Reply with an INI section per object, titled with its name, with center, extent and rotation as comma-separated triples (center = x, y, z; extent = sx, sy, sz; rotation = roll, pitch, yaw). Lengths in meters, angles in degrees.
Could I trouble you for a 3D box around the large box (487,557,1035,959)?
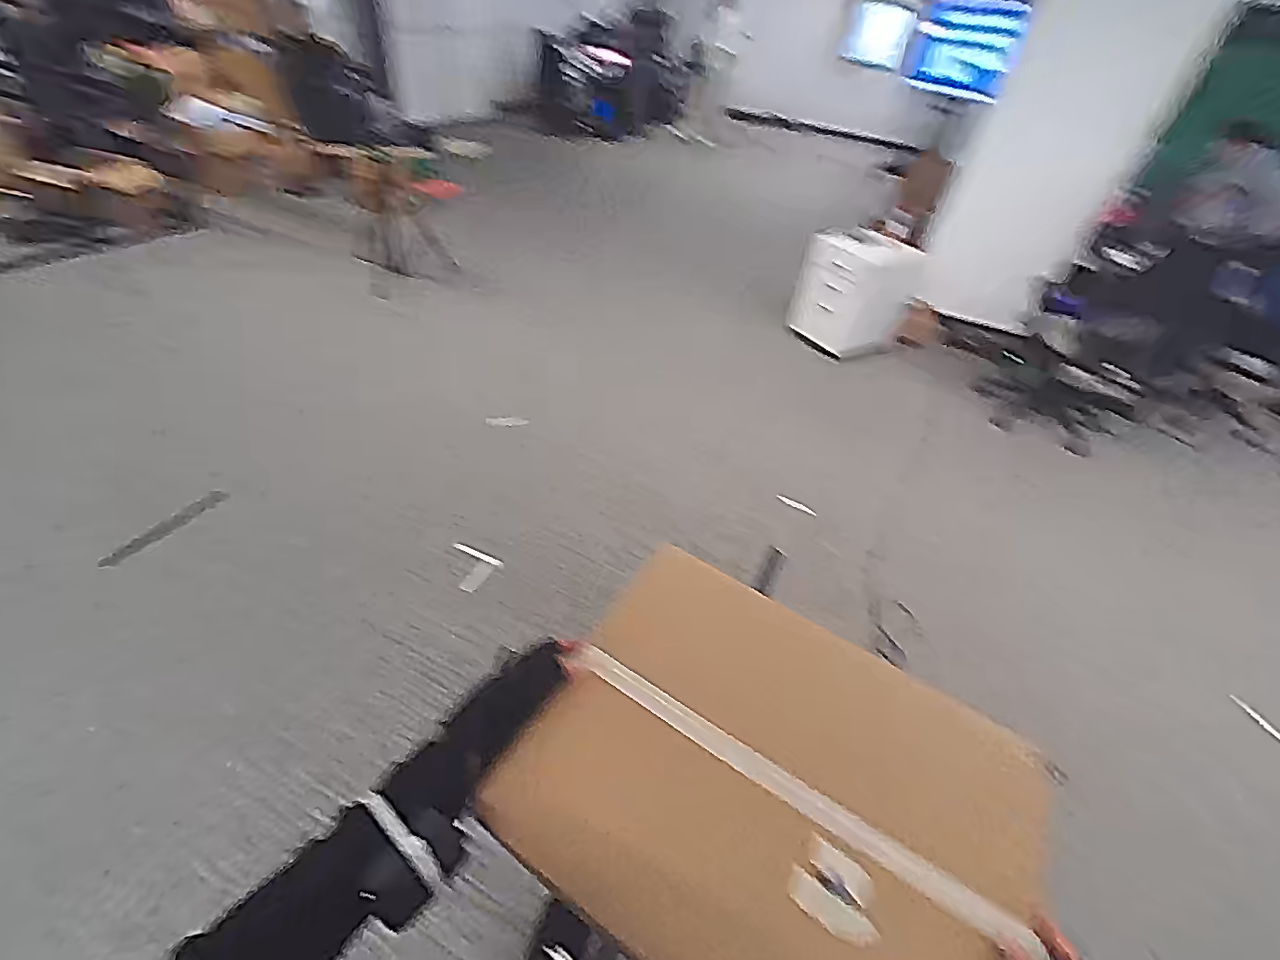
[large box]
center = 0.106, 0.361, 0.582
extent = 0.408, 0.320, 0.320
rotation = 28, 53, 18
